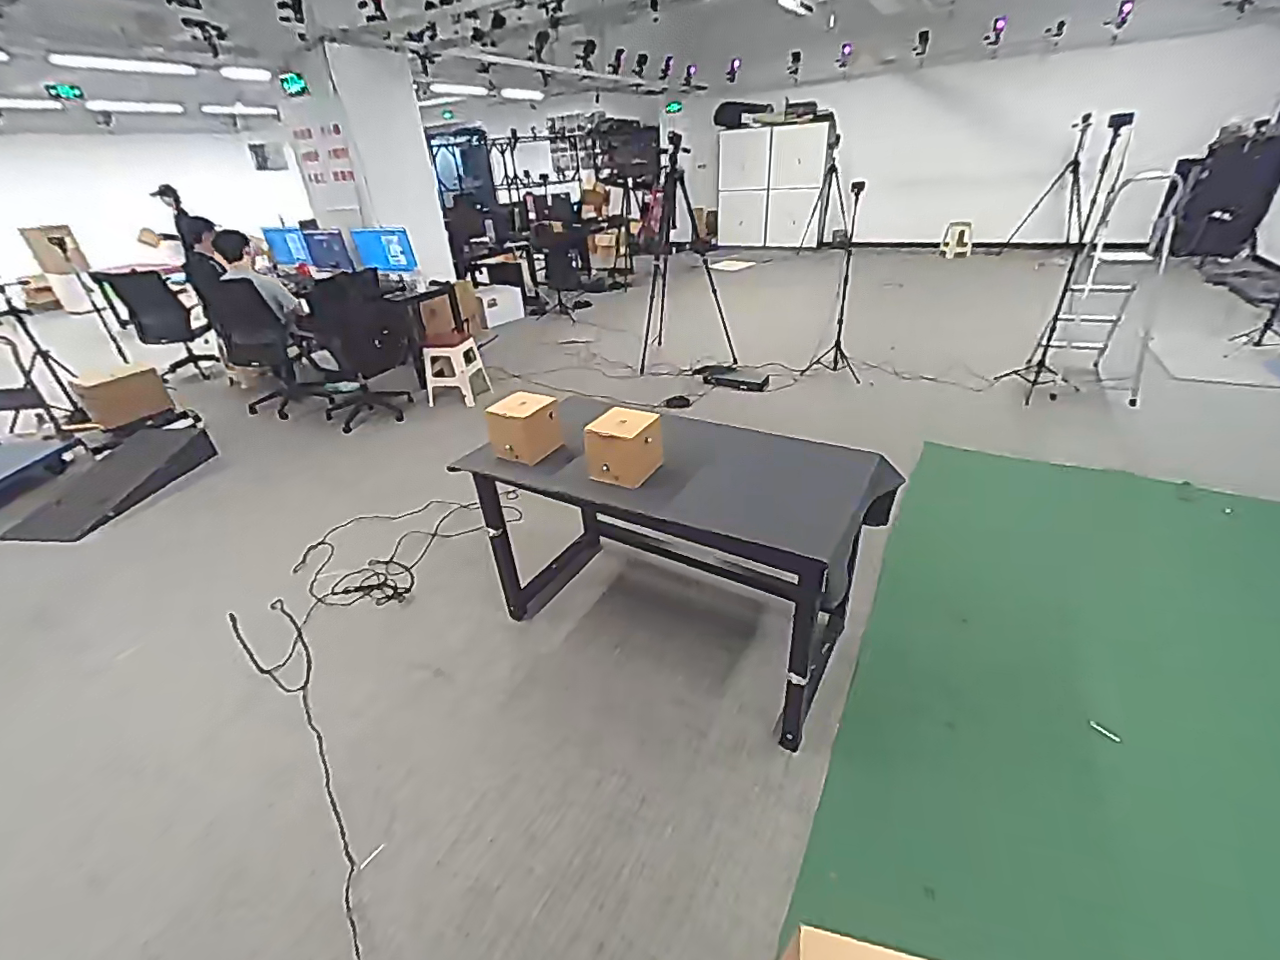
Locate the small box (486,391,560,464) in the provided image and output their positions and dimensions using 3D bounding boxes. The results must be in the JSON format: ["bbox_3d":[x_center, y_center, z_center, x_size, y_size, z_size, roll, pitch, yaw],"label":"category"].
[{"bbox_3d":[-0.378,-0.175,1.778,0.168,0.176,0.179,14,34,26],"label":"small box"}]

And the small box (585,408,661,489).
[{"bbox_3d":[-0.048,-0.097,1.620,0.168,0.176,0.179,14,35,27],"label":"small box"}]
